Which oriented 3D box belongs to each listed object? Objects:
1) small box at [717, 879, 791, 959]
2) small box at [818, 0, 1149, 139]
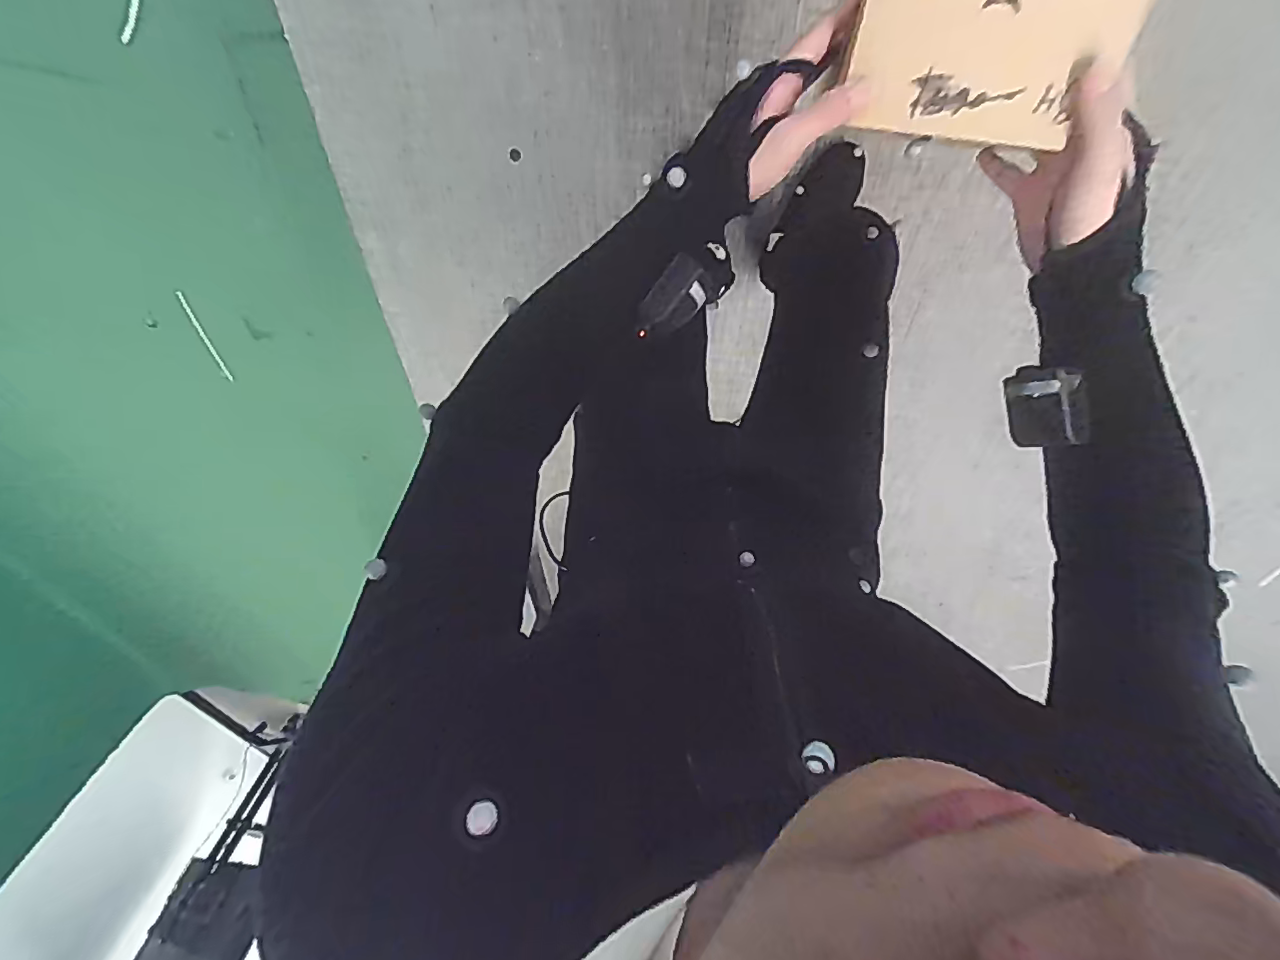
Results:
[{"bbox_3d":[0.291,1.156,1.395,0.168,0.176,0.179,6,137,9],"label":"small box"},{"bbox_3d":[0.236,-0.356,0.384,0.168,0.176,0.179,10,124,4],"label":"small box"}]
